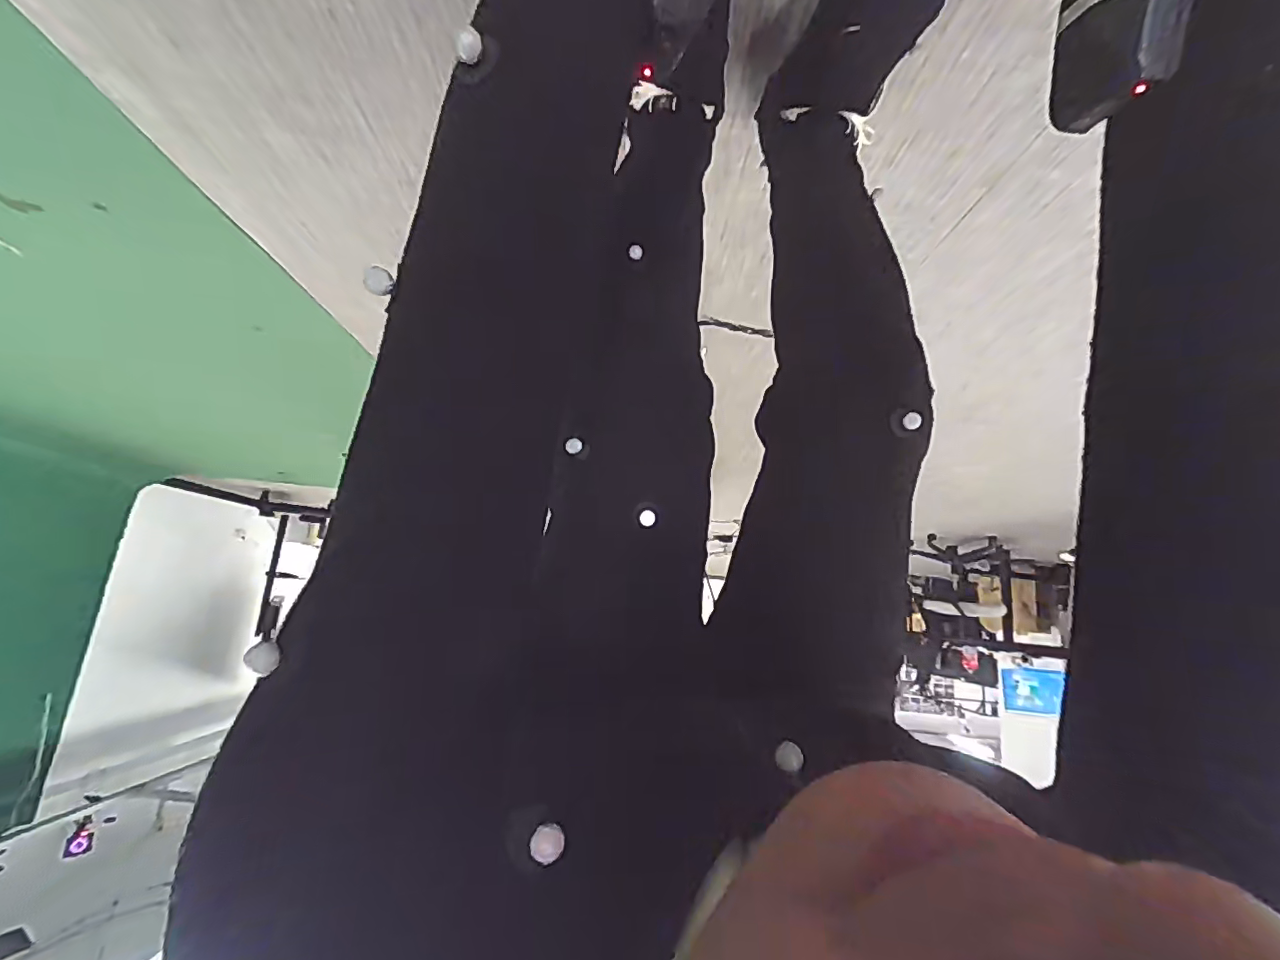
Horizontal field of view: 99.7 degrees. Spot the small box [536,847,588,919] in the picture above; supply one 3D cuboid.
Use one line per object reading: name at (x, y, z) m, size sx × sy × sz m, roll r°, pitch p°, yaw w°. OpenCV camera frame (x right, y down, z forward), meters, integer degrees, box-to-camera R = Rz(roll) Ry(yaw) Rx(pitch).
small box at (-0.297, 1.551, 2.090) m, size 0.179 × 0.176 × 0.168 m, roll 7°, pitch 168°, yaw -2°
